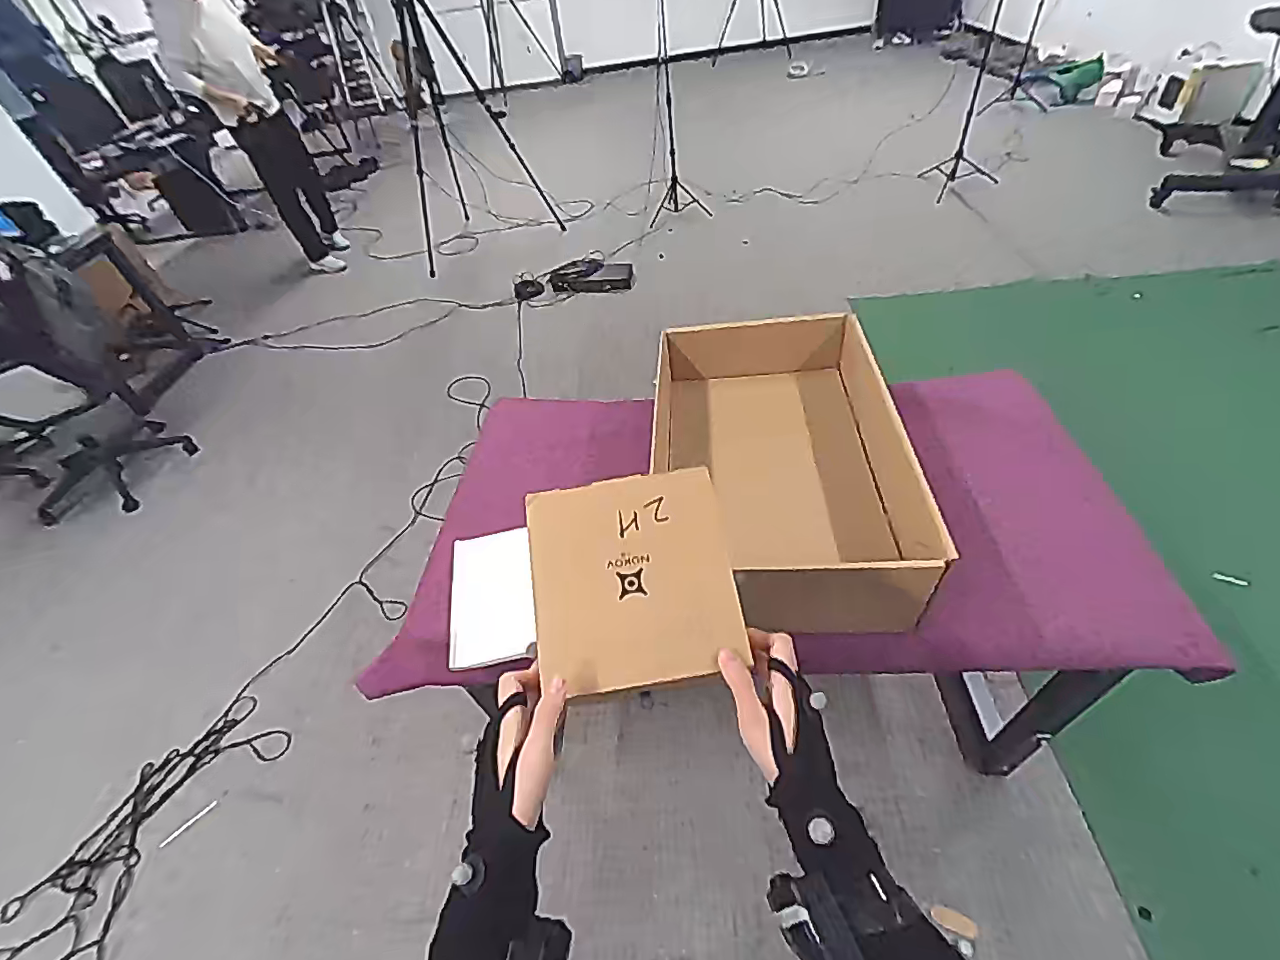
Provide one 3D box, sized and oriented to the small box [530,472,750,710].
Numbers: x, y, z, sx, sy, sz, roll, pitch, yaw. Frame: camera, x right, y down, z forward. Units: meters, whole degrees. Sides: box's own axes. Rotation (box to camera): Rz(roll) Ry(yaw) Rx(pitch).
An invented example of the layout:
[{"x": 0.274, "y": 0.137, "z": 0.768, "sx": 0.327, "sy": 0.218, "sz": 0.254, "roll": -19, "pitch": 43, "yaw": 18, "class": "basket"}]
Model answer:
[{"x": -0.001, "y": 0.116, "z": 0.515, "sx": 0.168, "sy": 0.176, "sz": 0.179, "roll": -9, "pitch": 64, "yaw": -1, "class": "small box"}]
